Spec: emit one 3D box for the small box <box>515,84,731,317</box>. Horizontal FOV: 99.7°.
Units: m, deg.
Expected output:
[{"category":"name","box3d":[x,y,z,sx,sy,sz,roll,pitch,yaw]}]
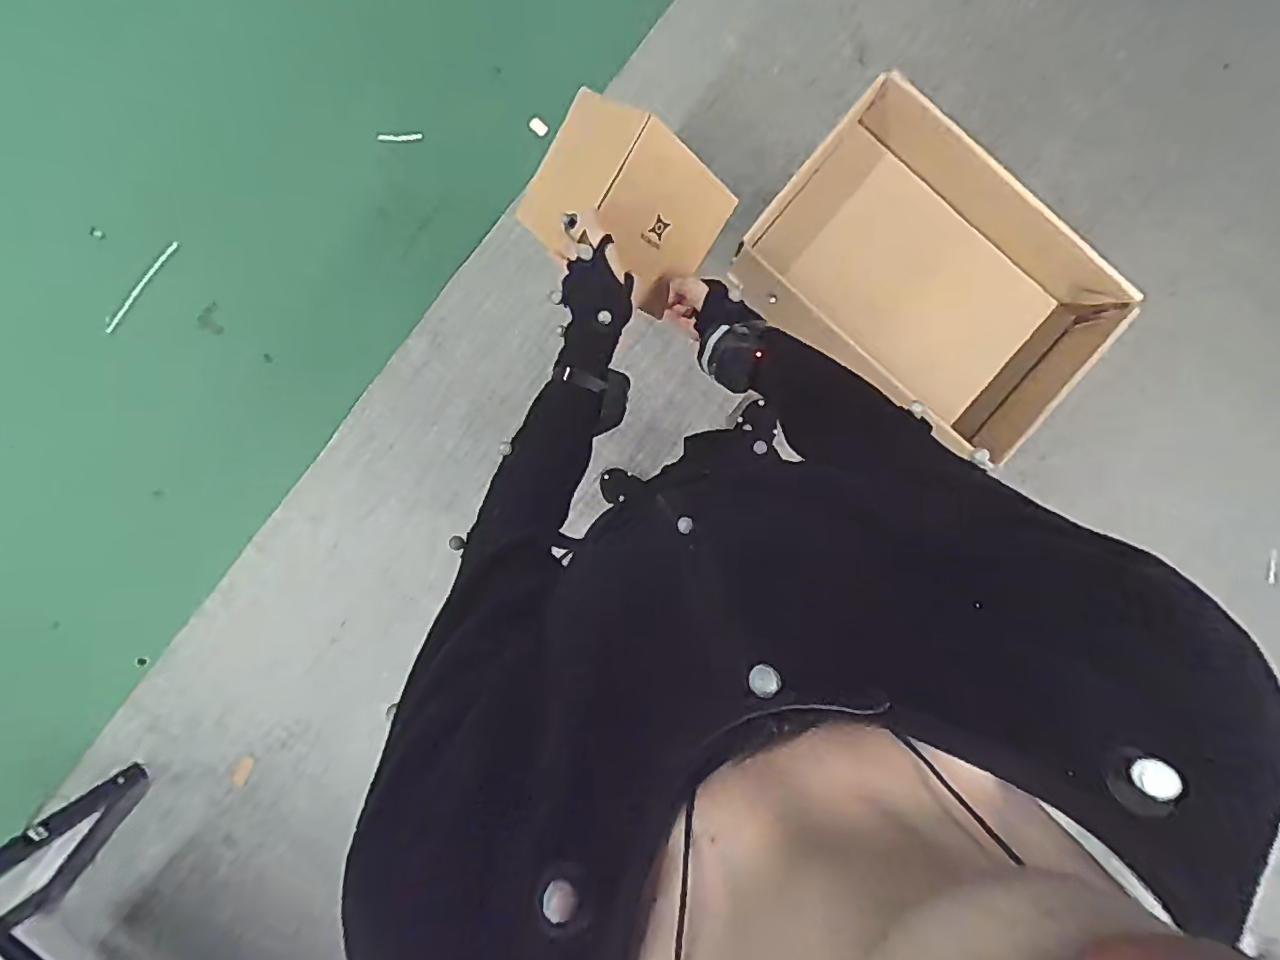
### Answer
[{"category":"small box","box3d":[-0.028,-0.344,0.670,0.179,0.168,0.176,-52,51,20]}]
